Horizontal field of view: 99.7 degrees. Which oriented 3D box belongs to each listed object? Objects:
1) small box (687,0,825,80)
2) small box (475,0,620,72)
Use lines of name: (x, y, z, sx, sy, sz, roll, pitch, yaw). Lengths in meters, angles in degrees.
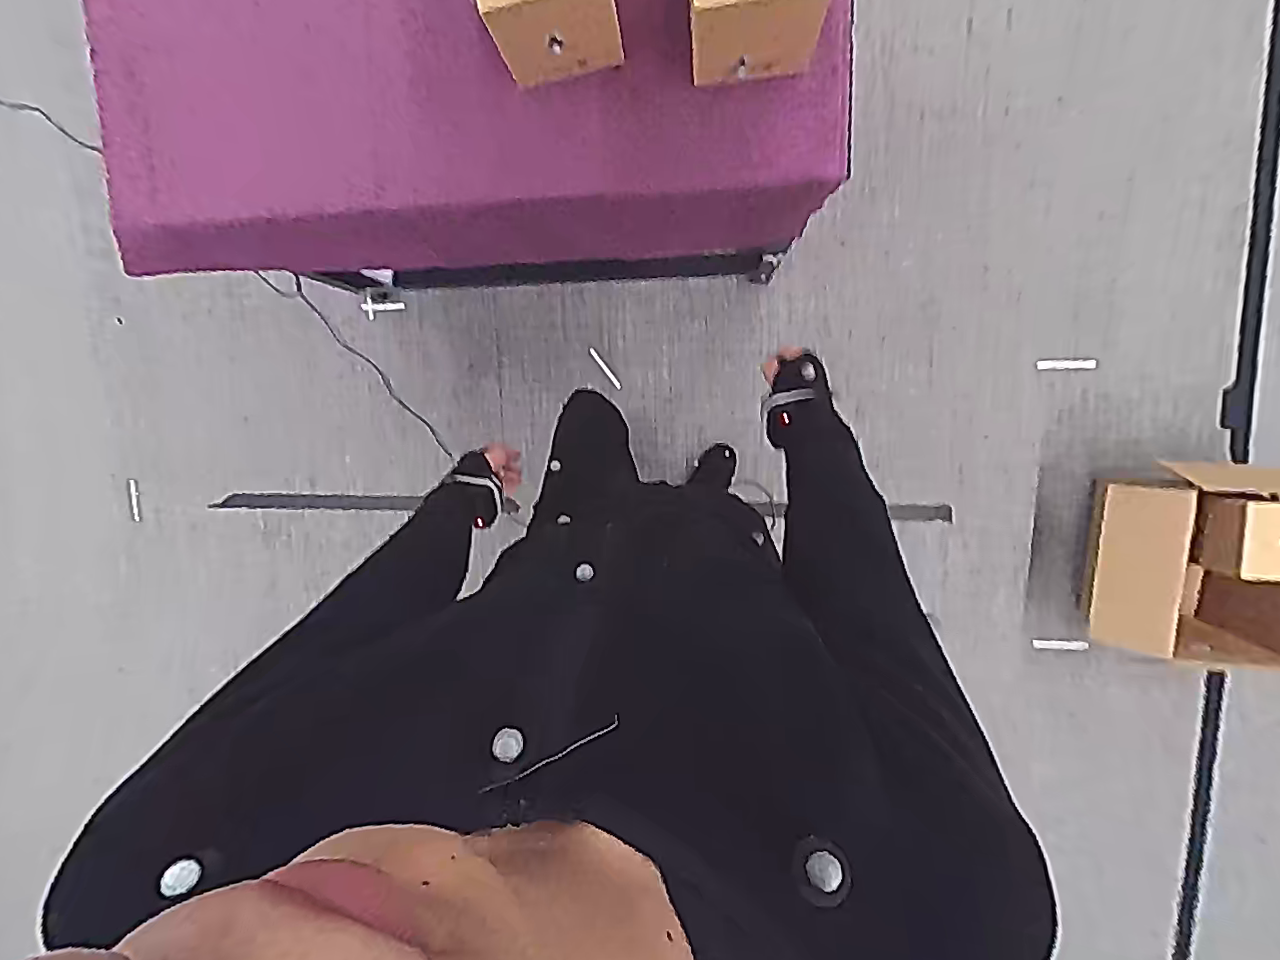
small box: (0.143, -0.667, 0.697, 0.168, 0.176, 0.179, -4, 97, 7)
small box: (-0.128, -0.687, 0.720, 0.168, 0.176, 0.179, -10, 96, 6)
